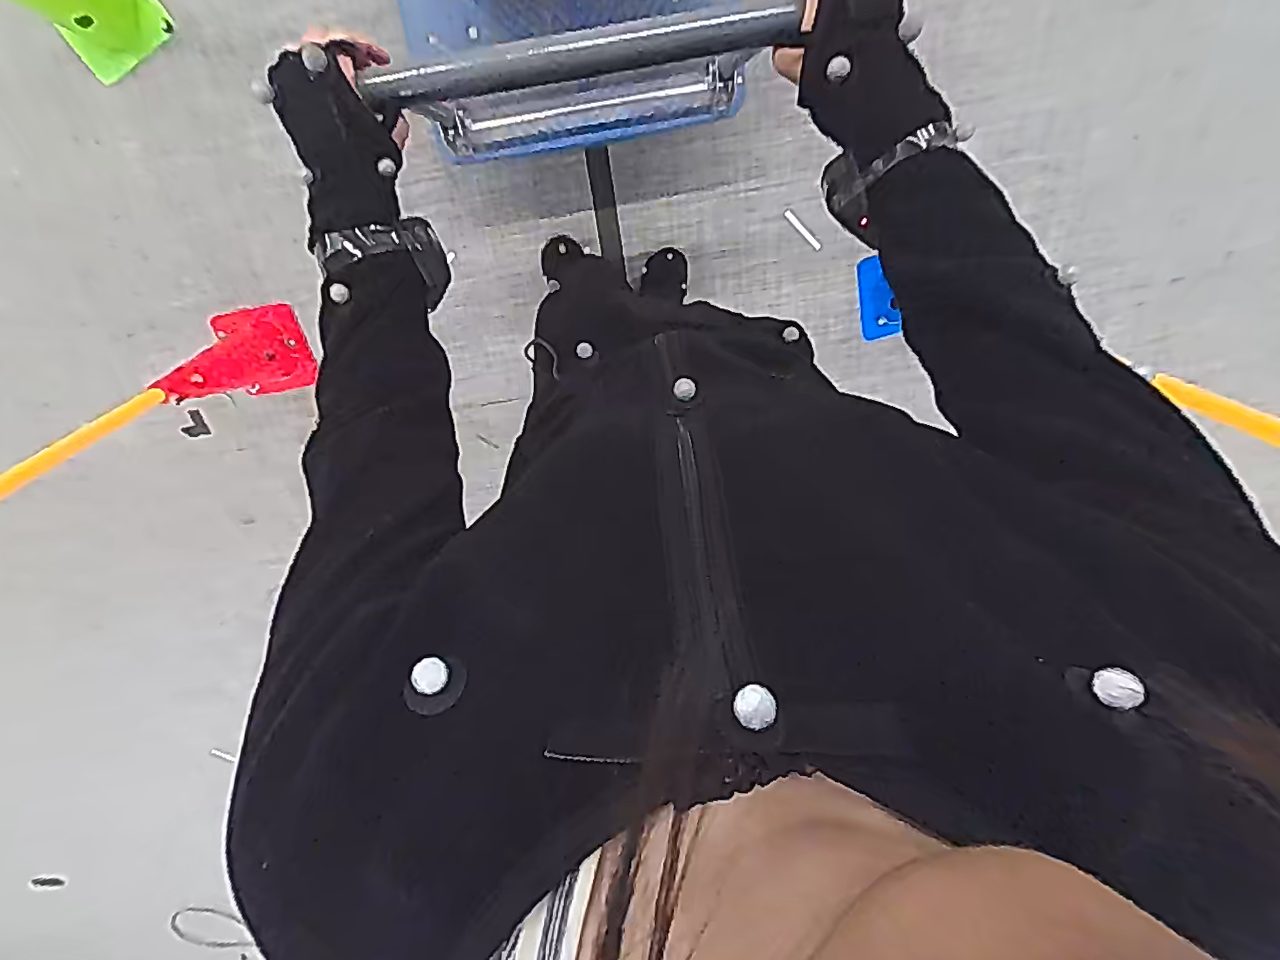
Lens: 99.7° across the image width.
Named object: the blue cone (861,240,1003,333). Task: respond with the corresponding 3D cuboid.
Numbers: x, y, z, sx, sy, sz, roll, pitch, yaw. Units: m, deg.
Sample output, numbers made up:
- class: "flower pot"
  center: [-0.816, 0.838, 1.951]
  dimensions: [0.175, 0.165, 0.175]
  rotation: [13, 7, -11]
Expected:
- class: "blue cone"
  center: [0.645, -0.396, 1.165]
  dimensions: [0.193, 0.380, 0.192]
  rotation: [-13, 115, 3]
